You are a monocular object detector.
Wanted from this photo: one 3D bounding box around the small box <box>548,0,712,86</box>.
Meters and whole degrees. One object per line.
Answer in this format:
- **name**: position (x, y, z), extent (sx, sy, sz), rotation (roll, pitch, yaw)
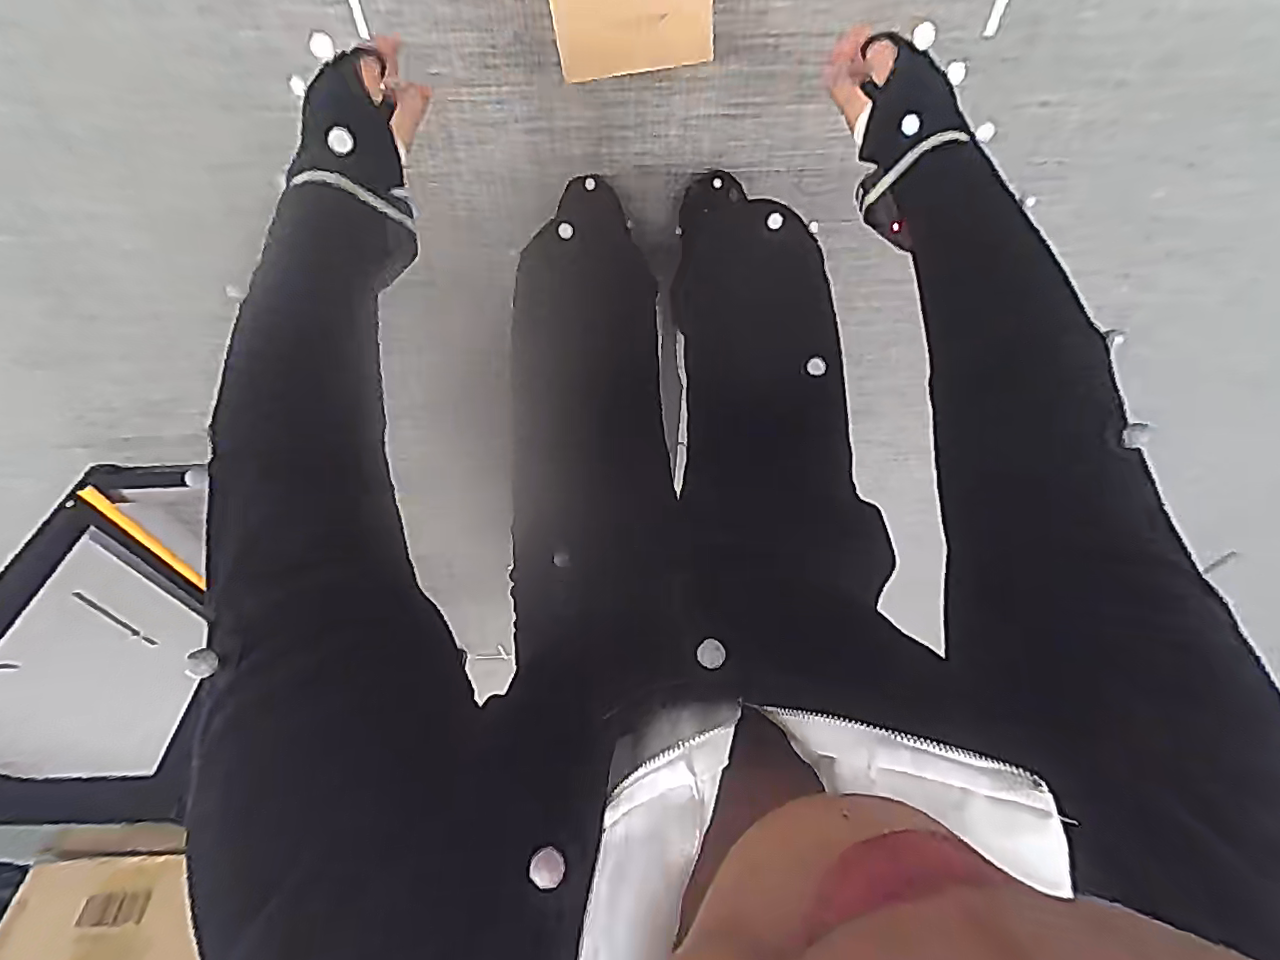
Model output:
- **small box**: position (-0.016, -0.557, 0.574), extent (0.168, 0.176, 0.179), rotation (-6, 141, 5)
